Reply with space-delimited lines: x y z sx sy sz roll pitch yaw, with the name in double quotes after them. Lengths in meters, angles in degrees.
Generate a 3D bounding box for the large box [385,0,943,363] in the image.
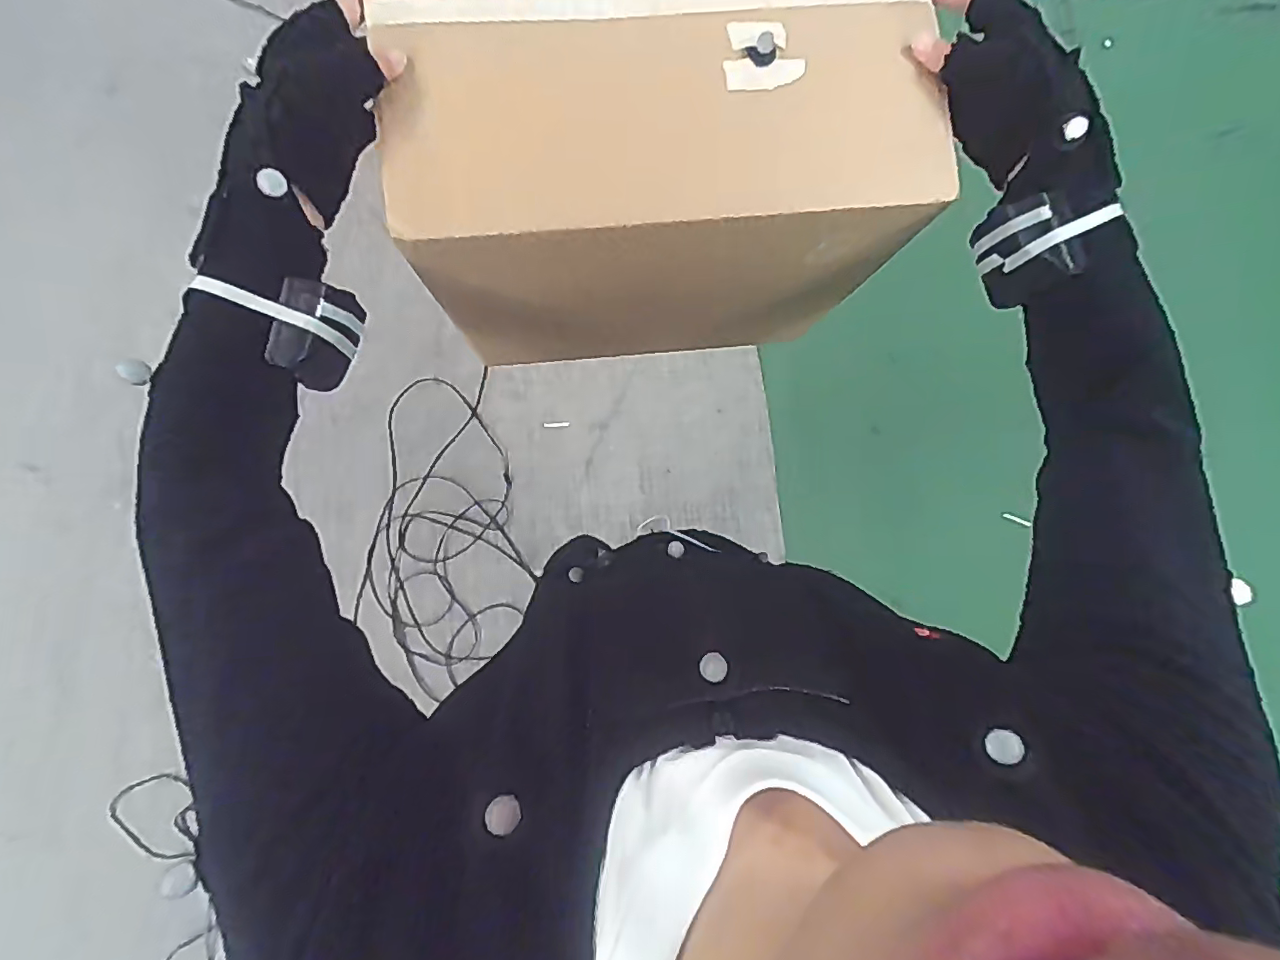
0.002 -0.327 0.547 0.408 0.320 0.320 -6 86 -6 "large box"
